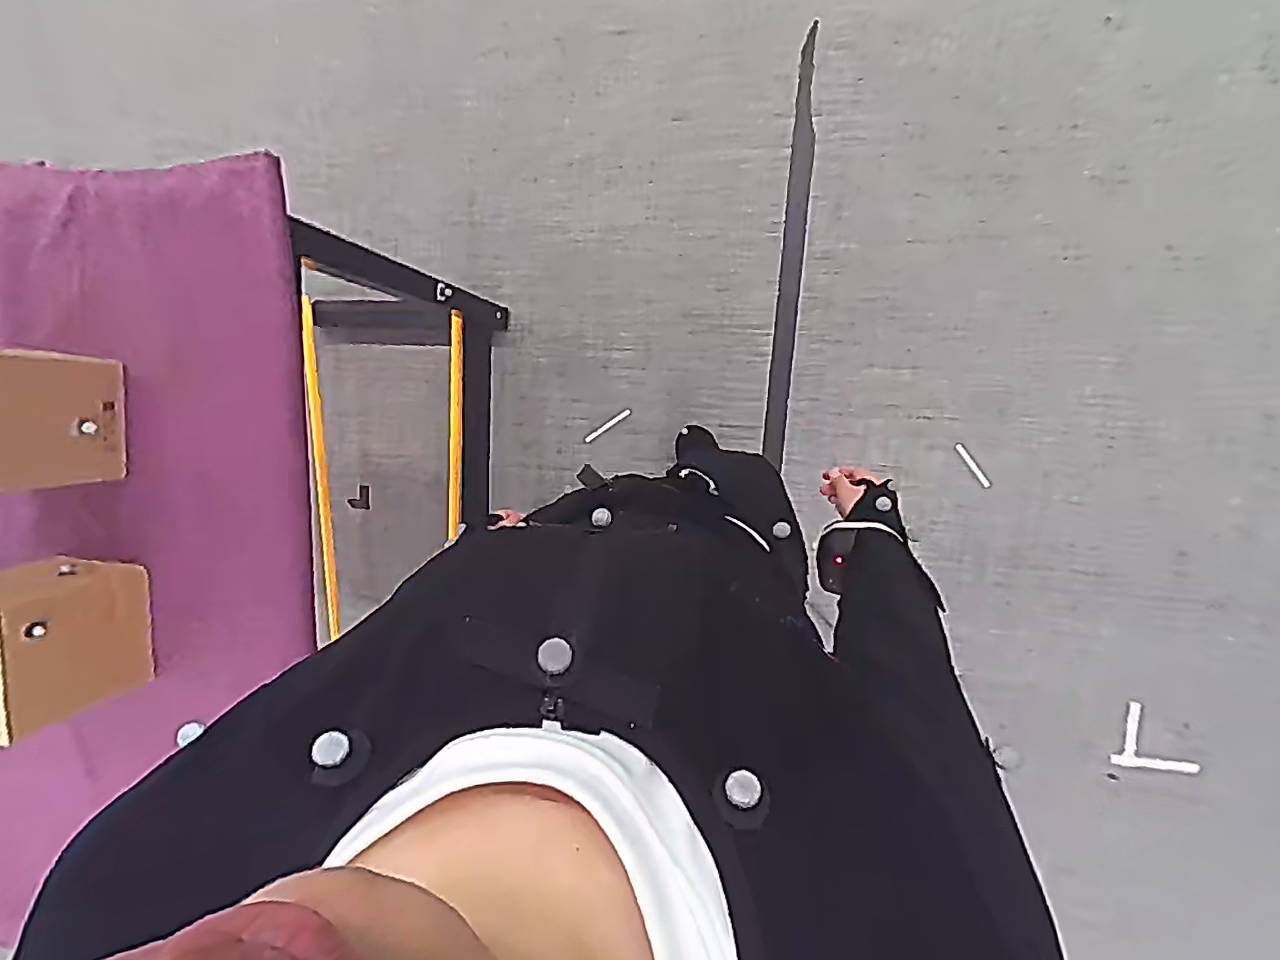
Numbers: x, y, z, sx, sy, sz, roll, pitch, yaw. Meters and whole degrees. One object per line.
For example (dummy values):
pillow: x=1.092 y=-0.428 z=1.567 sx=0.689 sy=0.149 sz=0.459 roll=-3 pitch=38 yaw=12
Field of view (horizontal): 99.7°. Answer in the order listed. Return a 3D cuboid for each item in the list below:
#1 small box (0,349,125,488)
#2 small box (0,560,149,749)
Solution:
small box: x=-0.816 y=-0.083 z=0.686 sx=0.179 sy=0.176 sz=0.168 roll=8 pitch=98 yaw=9
small box: x=-0.806 y=0.218 z=0.720 sx=0.168 sy=0.176 sz=0.179 roll=4 pitch=97 yaw=10
